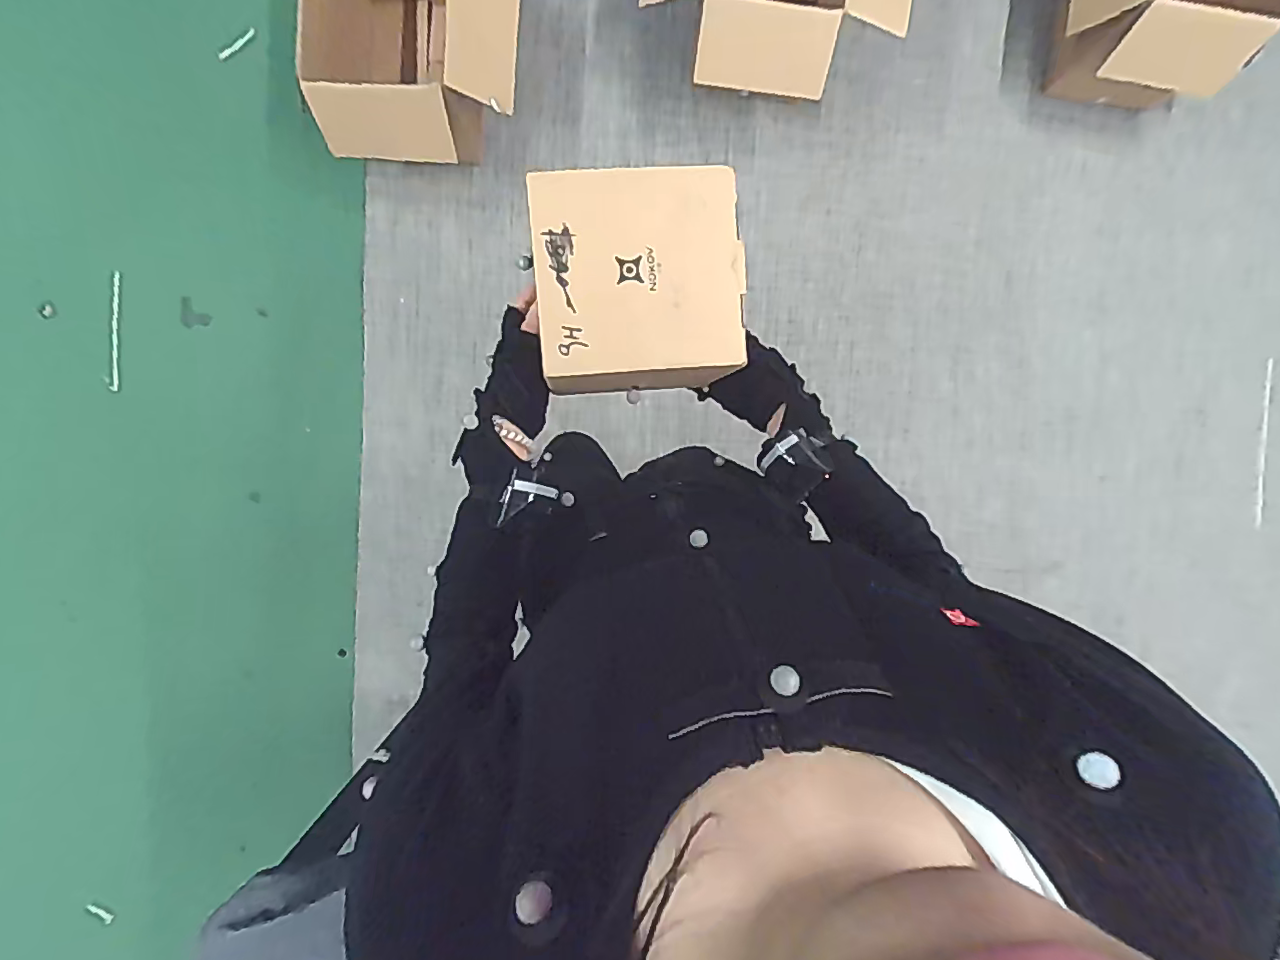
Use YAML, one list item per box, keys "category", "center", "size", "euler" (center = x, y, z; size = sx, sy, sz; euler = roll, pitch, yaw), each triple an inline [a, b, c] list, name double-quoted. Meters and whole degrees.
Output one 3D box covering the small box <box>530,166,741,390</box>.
- category: "small box"
  center: [-0.012, -0.182, 0.533]
  size: [0.179, 0.176, 0.168]
  euler: [-4, 93, -7]
